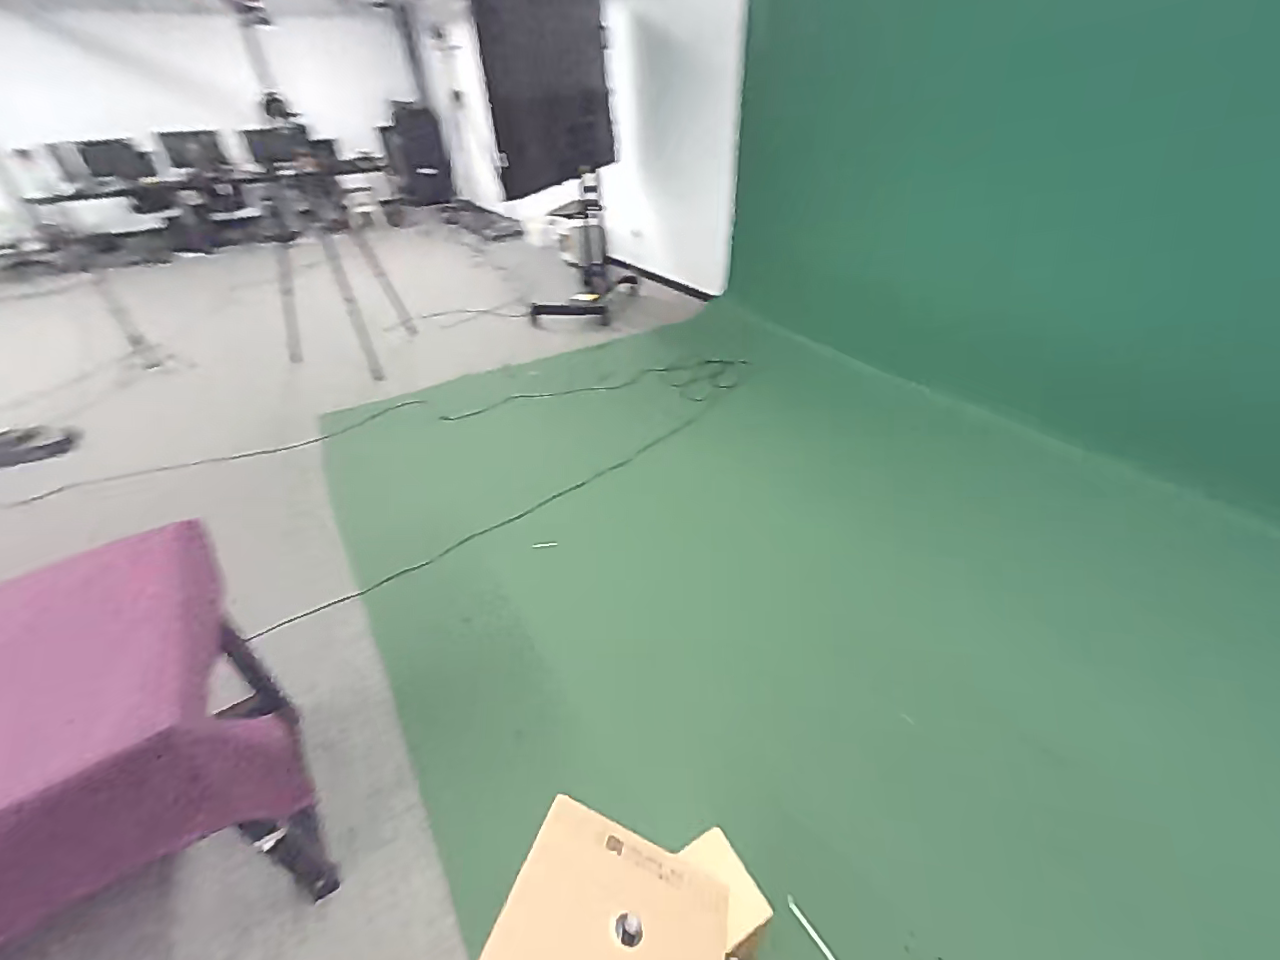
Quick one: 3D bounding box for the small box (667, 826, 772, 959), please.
[{"bbox_3d":[0.122,0.810,1.021,0.179,0.176,0.168,-21,40,-22],"label":"small box"}]
